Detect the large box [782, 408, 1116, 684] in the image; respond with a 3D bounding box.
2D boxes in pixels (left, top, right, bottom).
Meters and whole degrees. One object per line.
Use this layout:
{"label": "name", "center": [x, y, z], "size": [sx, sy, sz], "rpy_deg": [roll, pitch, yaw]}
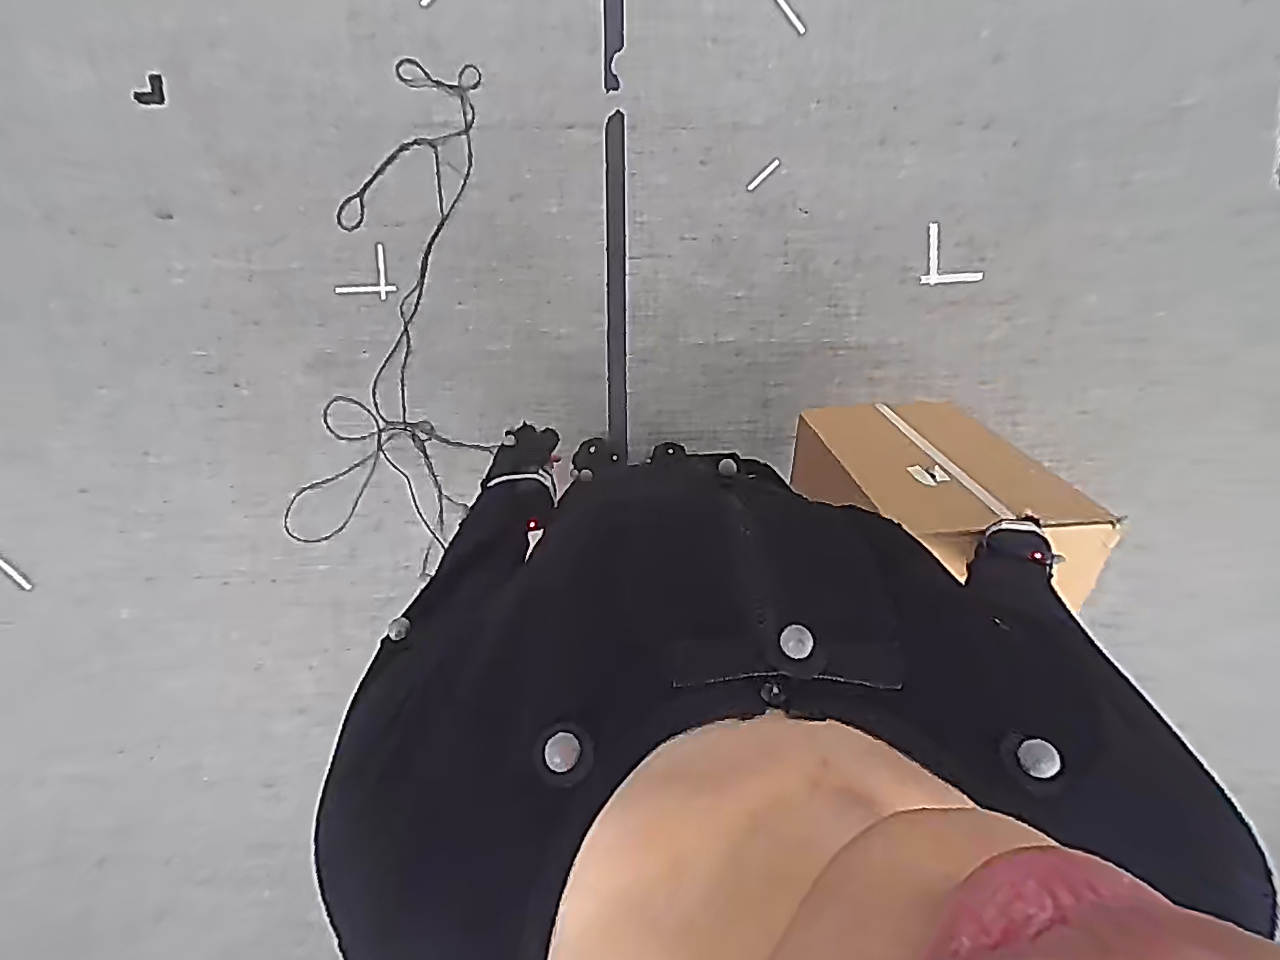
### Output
{"label": "large box", "center": [0.485, 0.096, 0.976], "size": [0.320, 0.408, 0.320], "rpy_deg": [-3, 123, -4]}
